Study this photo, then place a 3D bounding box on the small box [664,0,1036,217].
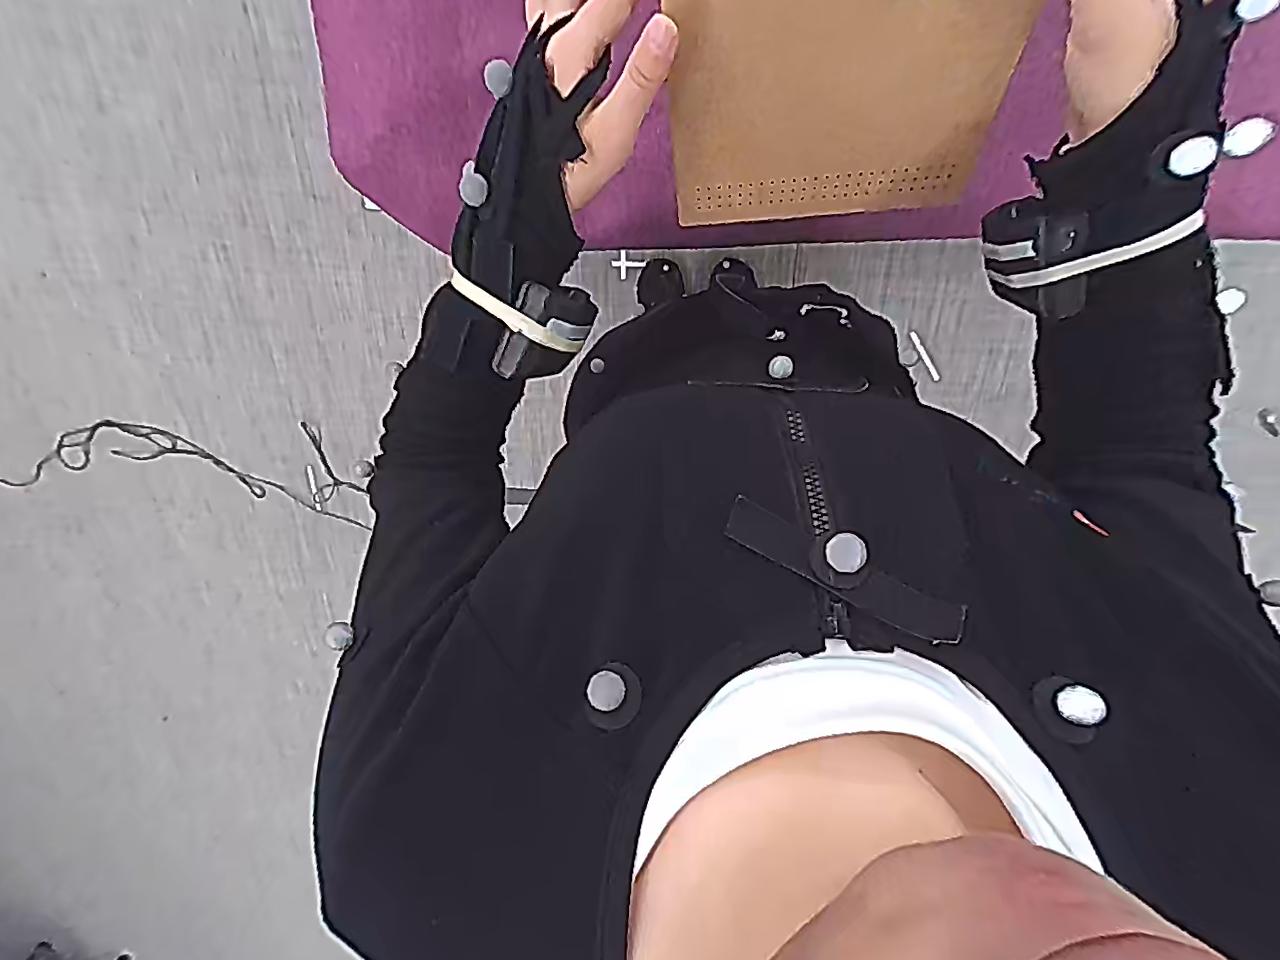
[{"bbox_3d":[0.108,-0.280,0.311,0.179,0.168,0.176,-1,152,9],"label":"small box"}]
